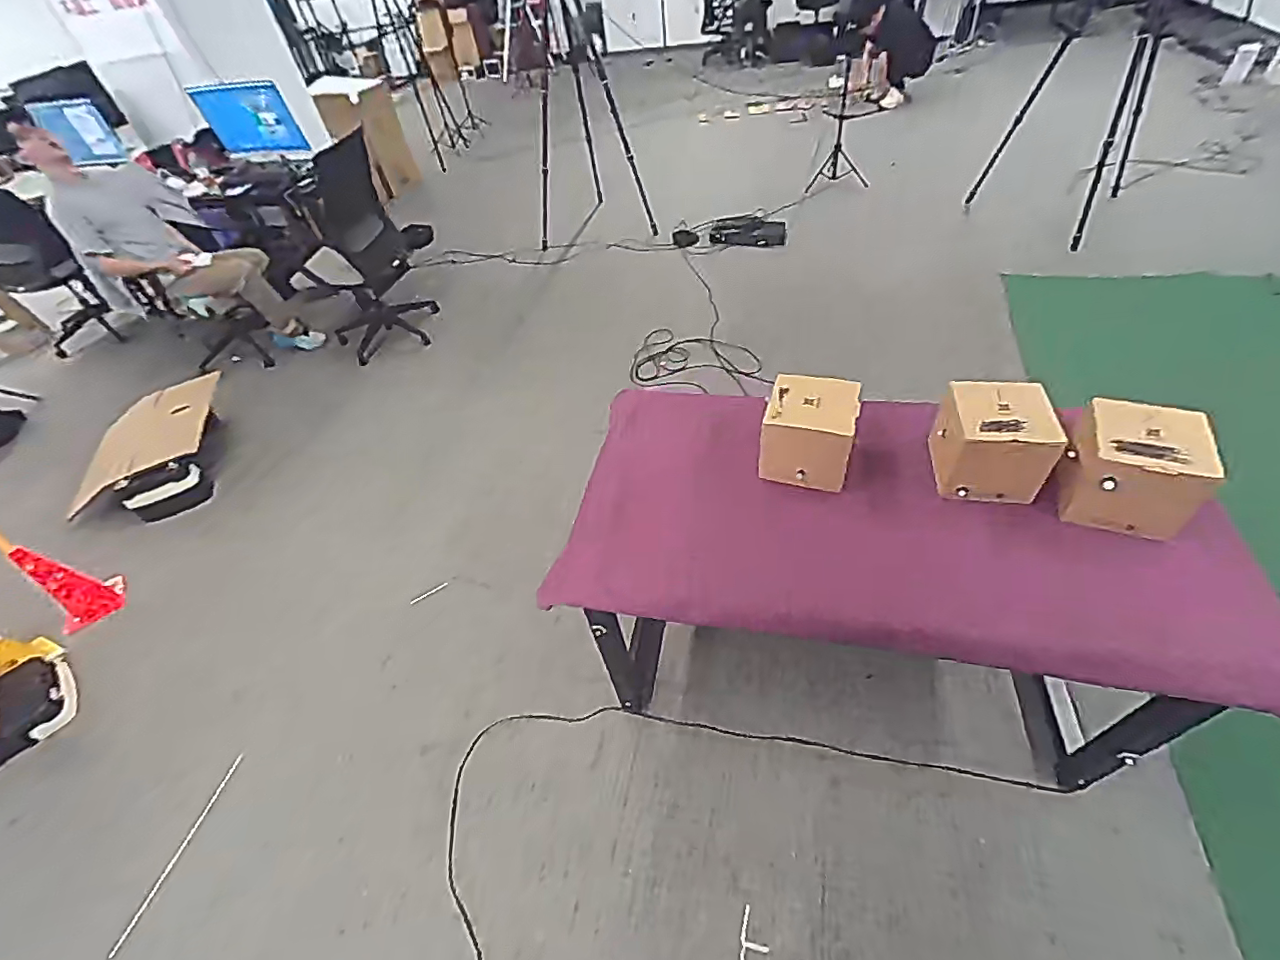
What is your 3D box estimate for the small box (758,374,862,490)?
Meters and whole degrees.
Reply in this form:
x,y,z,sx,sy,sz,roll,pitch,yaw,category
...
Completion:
x,y,z,sx,sy,sz,roll,pitch,yaw,category
0.358,-0.100,1.153,0.179,0.176,0.168,12,51,19,small box
